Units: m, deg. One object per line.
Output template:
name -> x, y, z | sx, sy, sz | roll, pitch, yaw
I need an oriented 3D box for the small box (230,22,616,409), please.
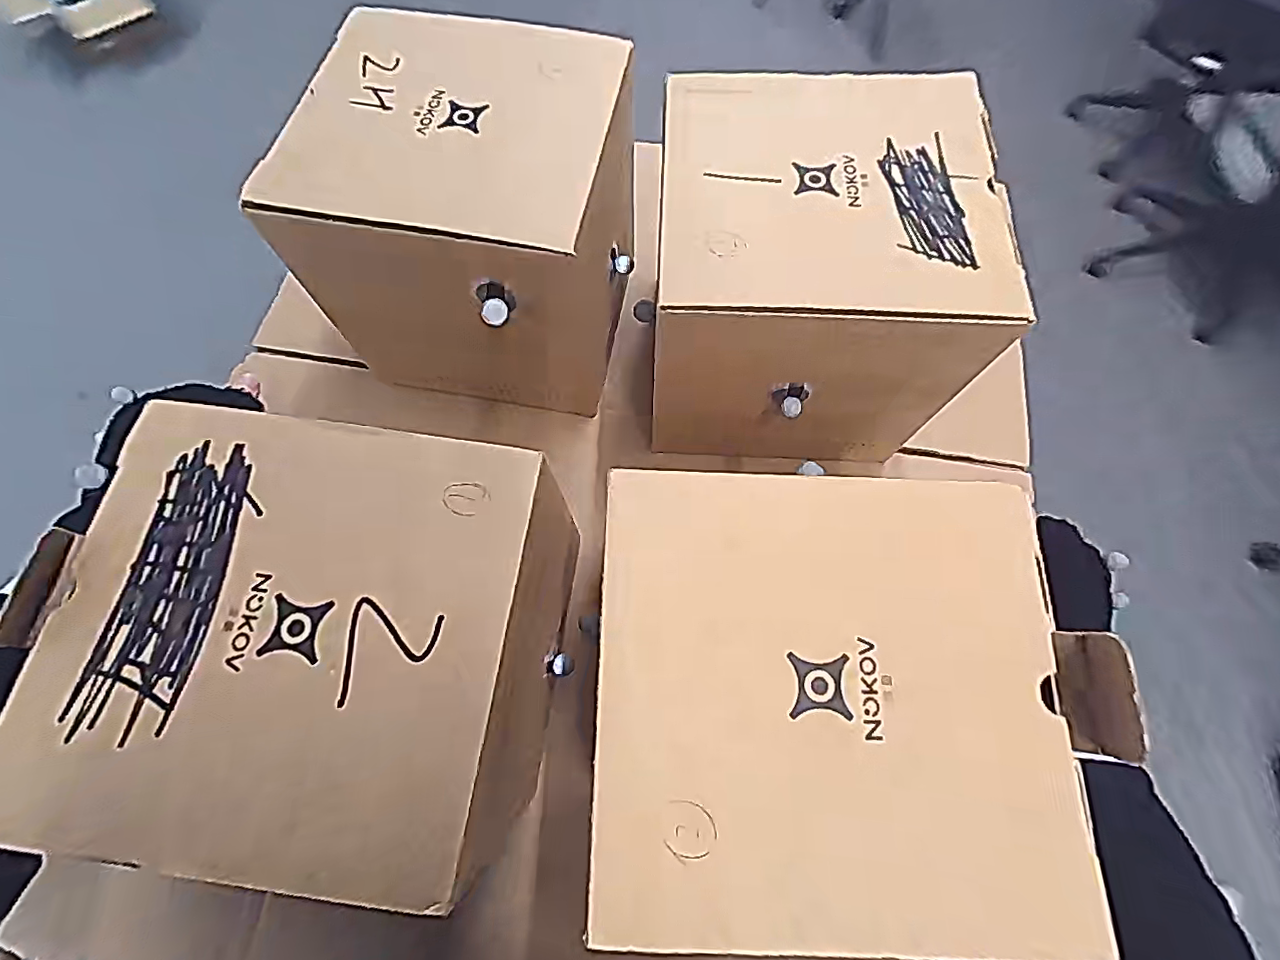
small box -> -0.116, -0.167, 0.379 | 0.179, 0.176, 0.168 | 9, 68, 4
